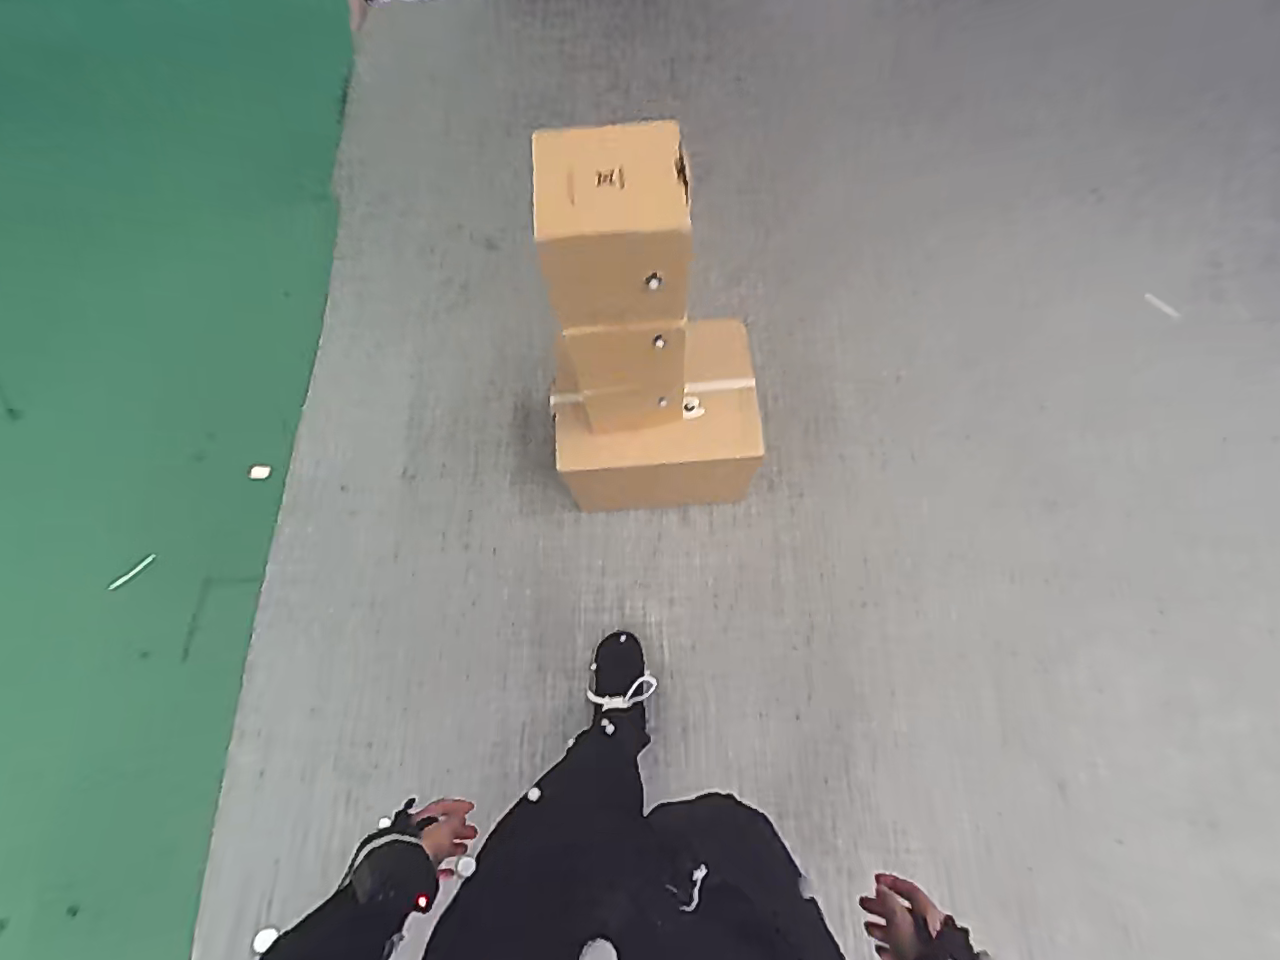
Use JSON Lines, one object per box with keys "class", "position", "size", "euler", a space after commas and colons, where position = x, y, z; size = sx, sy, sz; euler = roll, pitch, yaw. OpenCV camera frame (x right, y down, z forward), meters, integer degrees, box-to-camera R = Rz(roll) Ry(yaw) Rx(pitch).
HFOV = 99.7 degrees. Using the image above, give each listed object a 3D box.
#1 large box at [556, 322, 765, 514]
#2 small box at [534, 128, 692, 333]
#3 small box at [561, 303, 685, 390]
{"class": "large box", "position": [0.037, -0.123, 1.231], "size": [0.408, 0.320, 0.320], "euler": [-5, 72, 0]}
{"class": "small box", "position": [-0.032, -0.310, 0.696], "size": [0.179, 0.176, 0.168], "euler": [-5, 69, 1]}
{"class": "small box", "position": [-0.025, -0.254, 0.848], "size": [0.179, 0.176, 0.168], "euler": [-5, 71, 0]}
